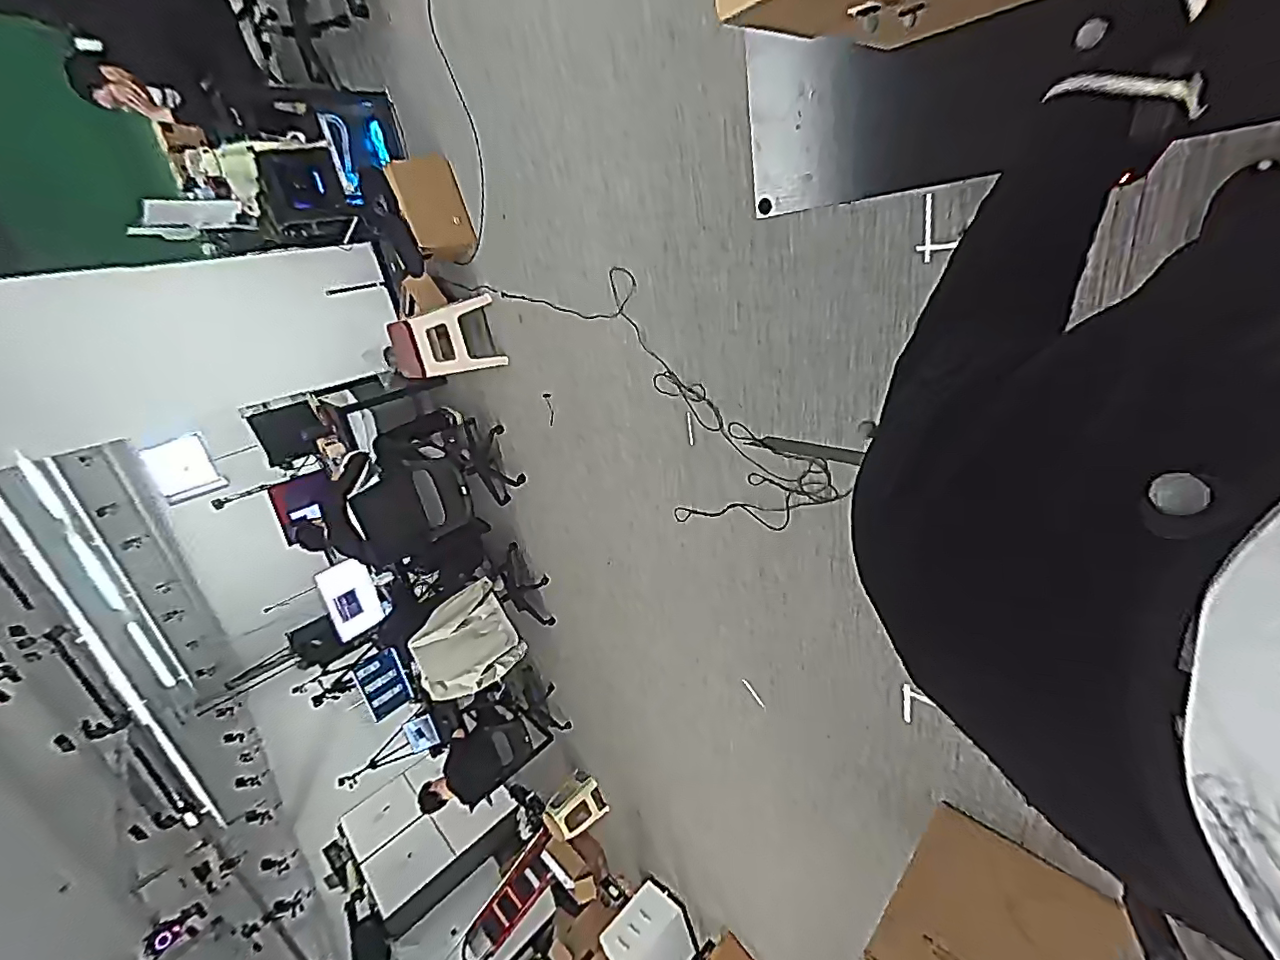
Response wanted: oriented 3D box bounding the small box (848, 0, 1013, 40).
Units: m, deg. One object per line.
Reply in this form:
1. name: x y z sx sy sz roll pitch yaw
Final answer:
1. small box: 0.282 -0.540 0.499 0.179 0.176 0.168 16 124 44

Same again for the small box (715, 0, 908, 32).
1. small box: 0.165 -0.478 0.406 0.168 0.176 0.179 17 125 46
